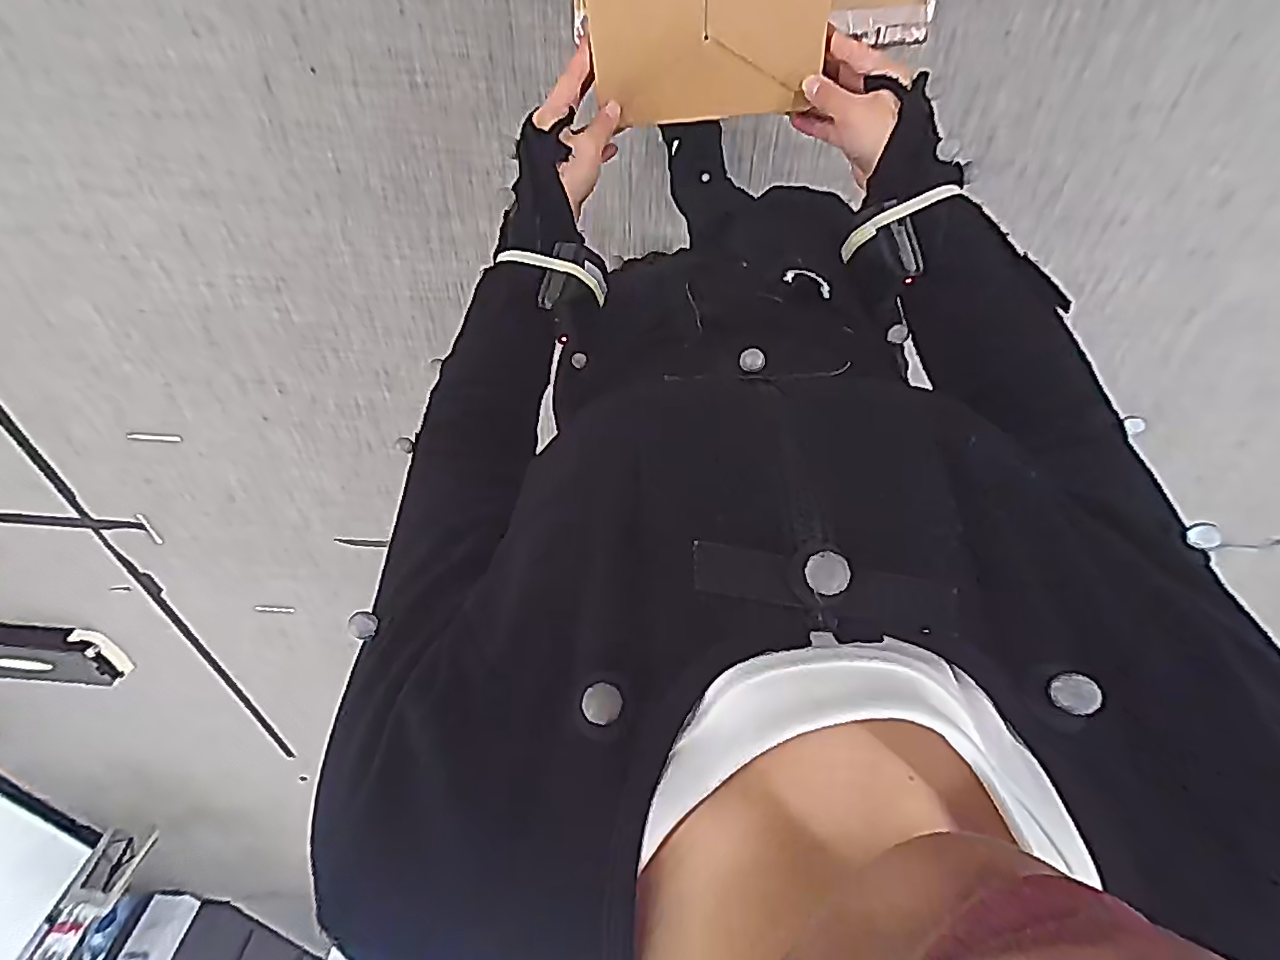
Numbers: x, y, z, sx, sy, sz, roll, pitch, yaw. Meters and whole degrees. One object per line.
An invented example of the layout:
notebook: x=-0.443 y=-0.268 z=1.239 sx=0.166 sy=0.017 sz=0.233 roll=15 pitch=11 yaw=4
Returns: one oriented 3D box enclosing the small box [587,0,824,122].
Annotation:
small box: x=0.047 y=-0.410 z=0.442 sx=0.179 sy=0.176 sz=0.168 roll=-2 pitch=134 yaw=5
